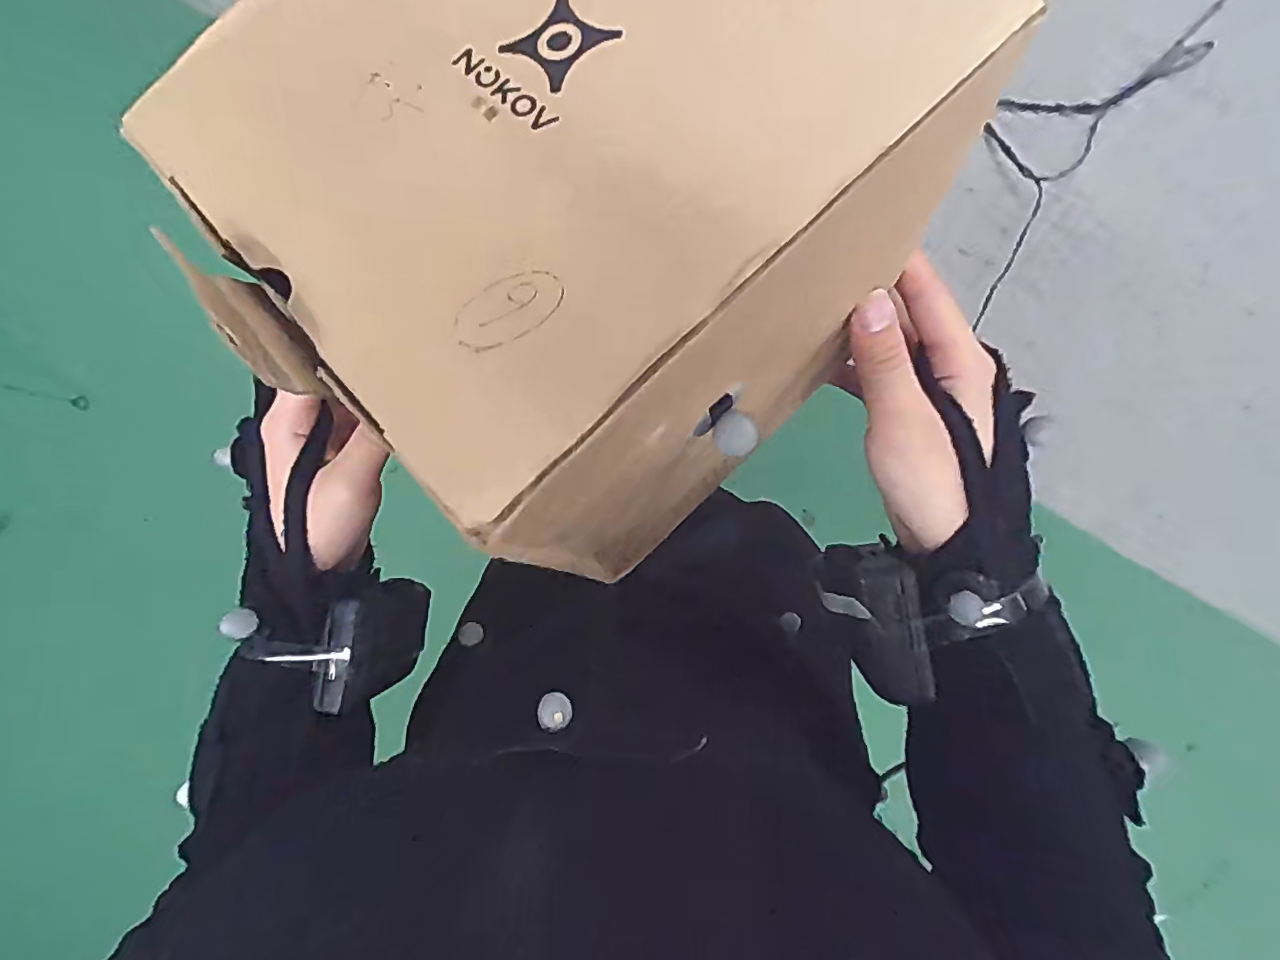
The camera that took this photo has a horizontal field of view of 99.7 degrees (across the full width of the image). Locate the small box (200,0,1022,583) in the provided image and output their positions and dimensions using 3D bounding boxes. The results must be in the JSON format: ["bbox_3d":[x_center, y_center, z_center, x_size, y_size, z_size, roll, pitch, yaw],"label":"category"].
[{"bbox_3d":[-0.008,-0.073,0.225,0.179,0.176,0.168,-43,75,-4],"label":"small box"}]
